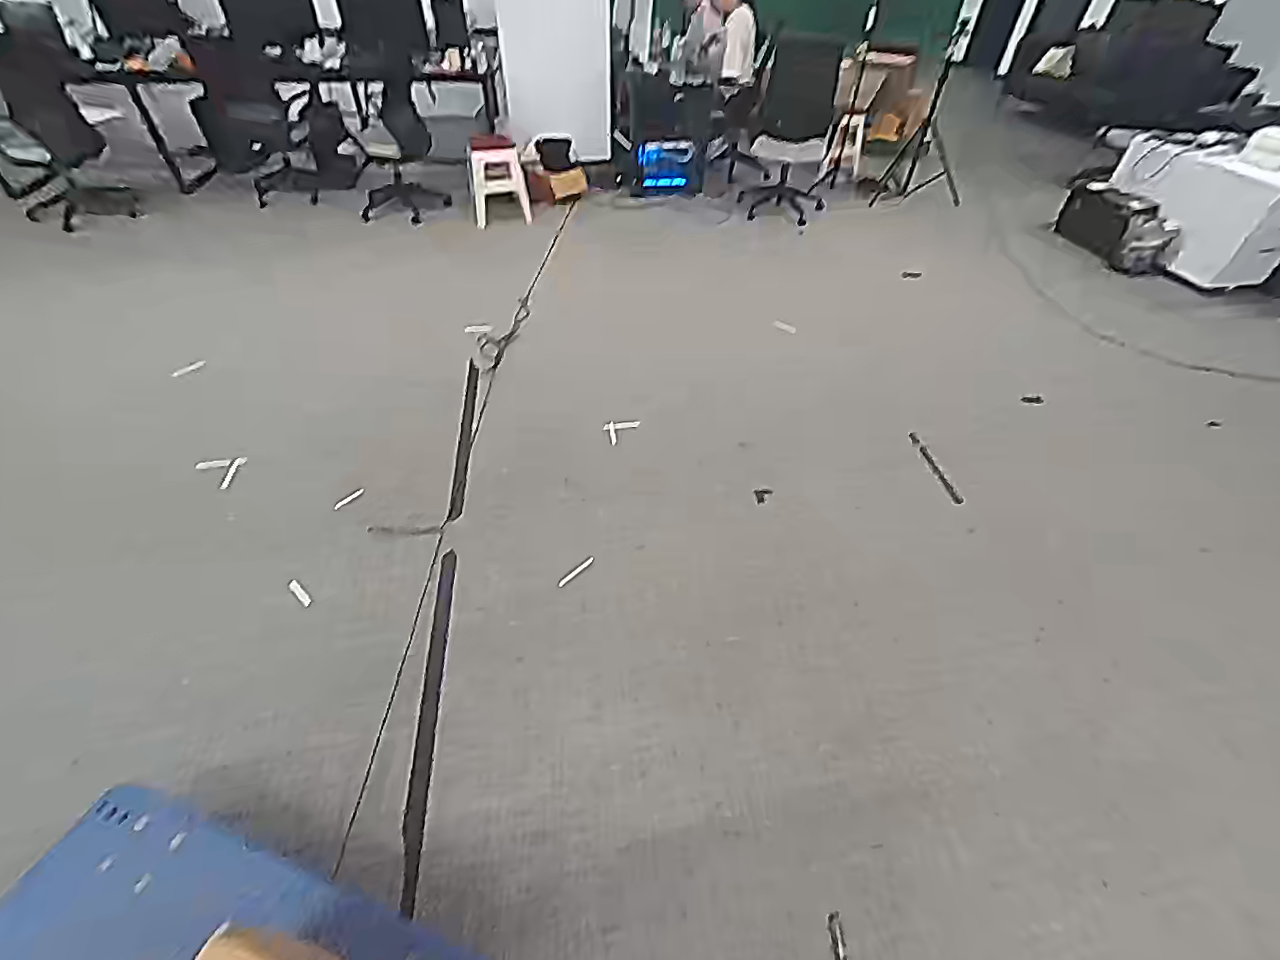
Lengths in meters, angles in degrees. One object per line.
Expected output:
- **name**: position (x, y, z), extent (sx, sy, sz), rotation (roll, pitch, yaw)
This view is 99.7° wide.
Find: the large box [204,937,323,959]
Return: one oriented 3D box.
- **large box**: position (-0.516, 0.907, 0.698), extent (0.320, 0.320, 0.408), rotation (20, 47, 6)
